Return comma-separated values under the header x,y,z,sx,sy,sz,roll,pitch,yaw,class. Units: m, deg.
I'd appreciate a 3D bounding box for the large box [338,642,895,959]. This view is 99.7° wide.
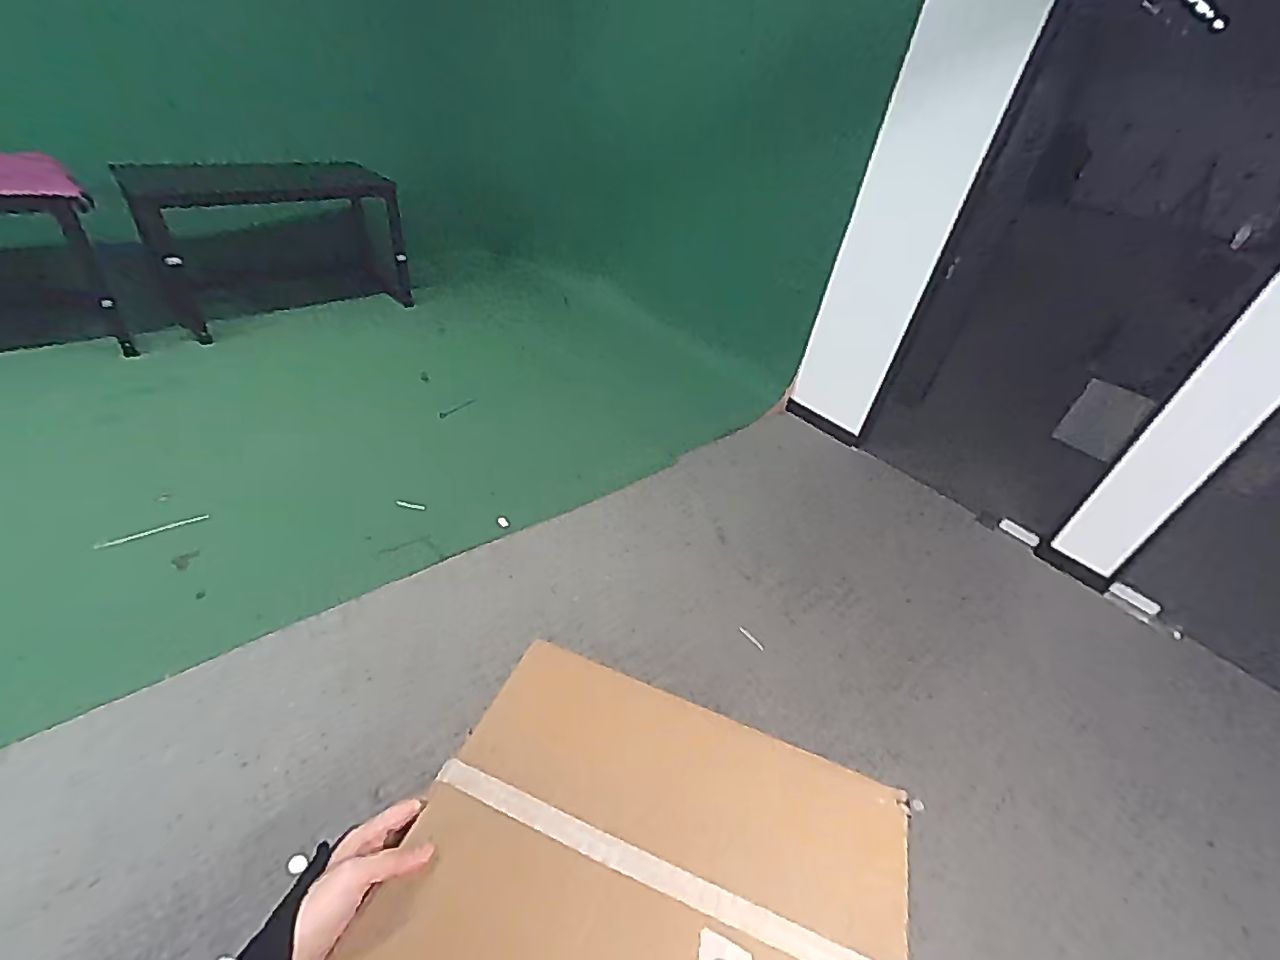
x,y,z,sx,sy,sz,roll,pitch,yaw,class
-0.006,0.440,0.553,0.408,0.320,0.320,19,40,12,large box
